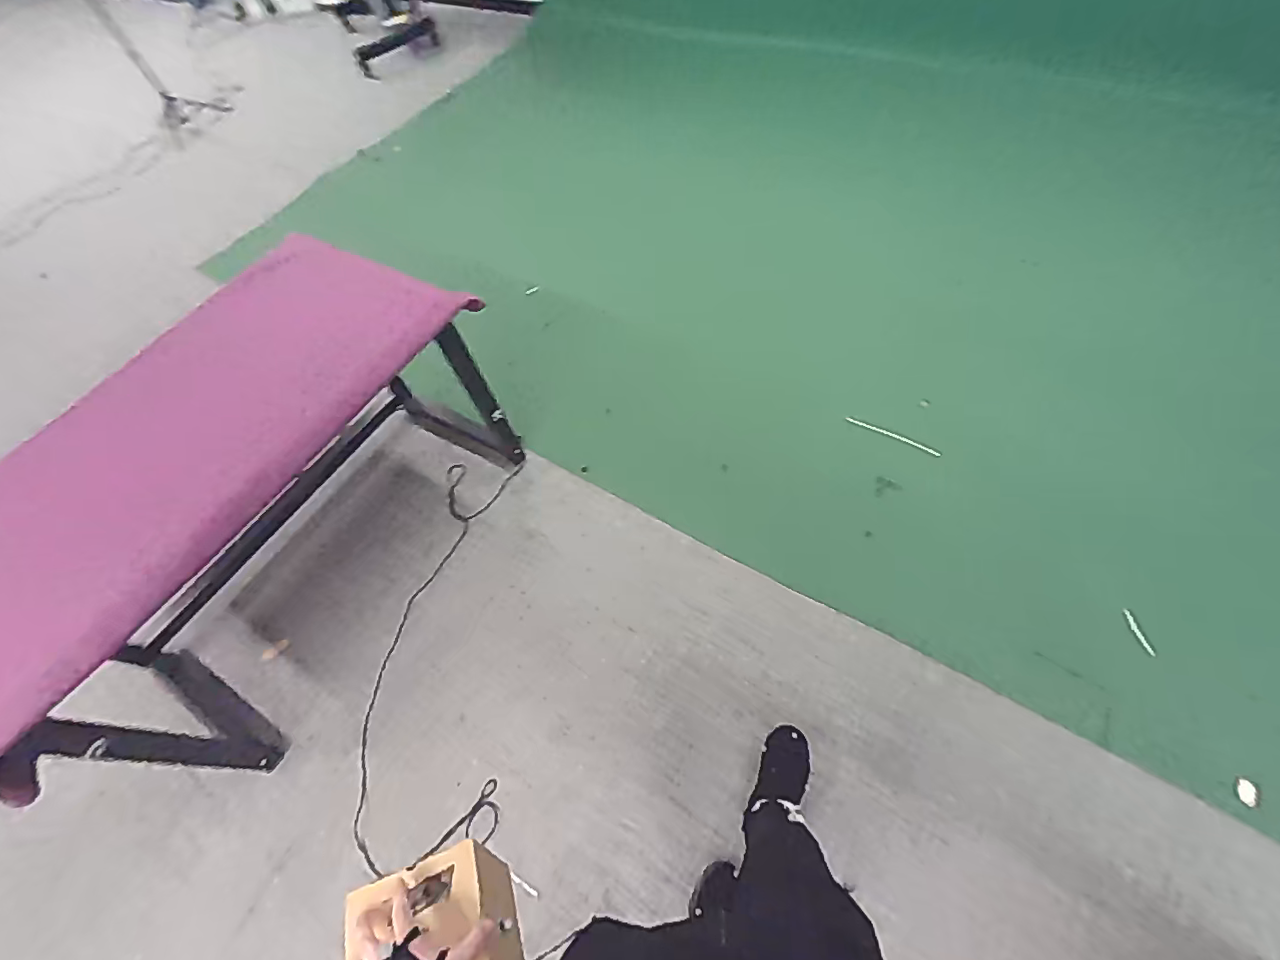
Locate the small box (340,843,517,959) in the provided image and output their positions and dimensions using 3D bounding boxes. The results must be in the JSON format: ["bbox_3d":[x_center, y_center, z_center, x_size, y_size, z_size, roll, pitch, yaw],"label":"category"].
[{"bbox_3d":[-0.263,0.616,0.695,0.168,0.176,0.179,-20,44,-11],"label":"small box"}]
